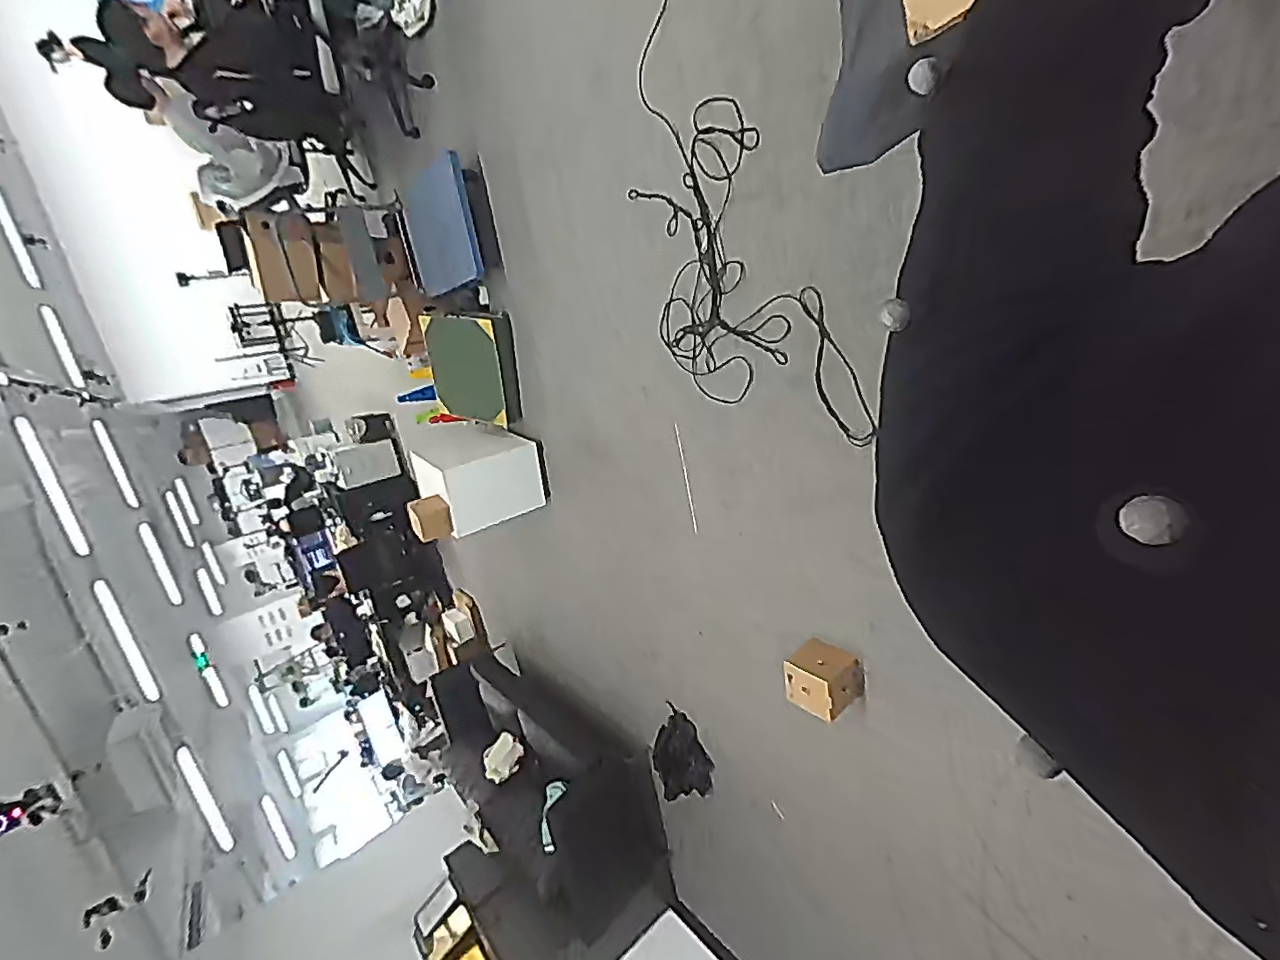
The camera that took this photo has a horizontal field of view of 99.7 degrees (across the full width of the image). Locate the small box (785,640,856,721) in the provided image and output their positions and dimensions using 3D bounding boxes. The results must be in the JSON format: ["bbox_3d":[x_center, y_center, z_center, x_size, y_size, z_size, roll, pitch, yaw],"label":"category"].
[{"bbox_3d":[0.625,0.677,1.852,0.179,0.176,0.168,12,117,50],"label":"small box"}]
